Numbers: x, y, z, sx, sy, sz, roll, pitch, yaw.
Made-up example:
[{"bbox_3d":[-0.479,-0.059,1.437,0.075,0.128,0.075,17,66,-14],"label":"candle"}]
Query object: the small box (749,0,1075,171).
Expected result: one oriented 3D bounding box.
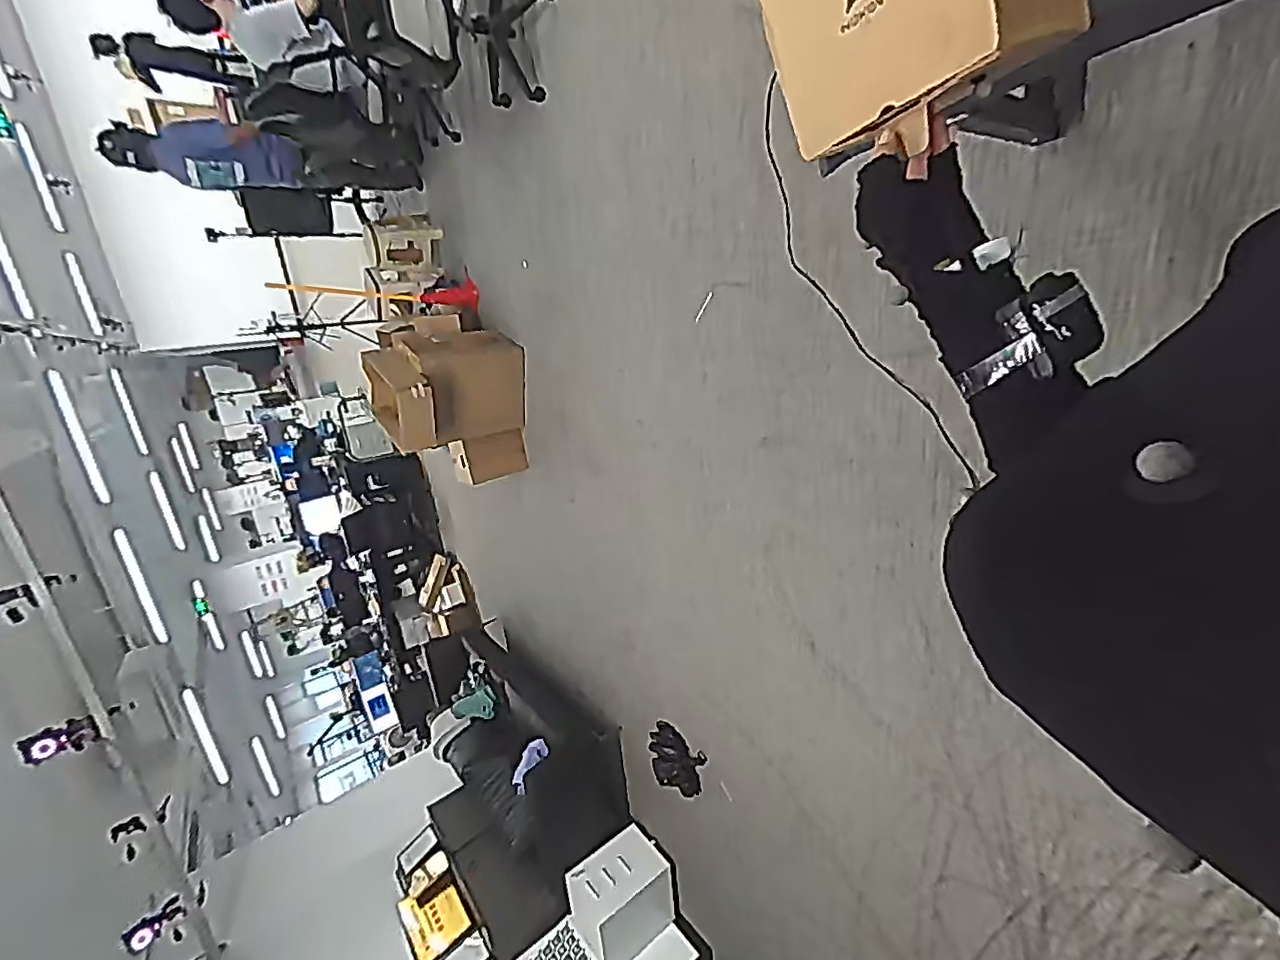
[{"bbox_3d":[0.218,-0.392,0.439,0.168,0.176,0.179,1,119,56],"label":"small box"}]
